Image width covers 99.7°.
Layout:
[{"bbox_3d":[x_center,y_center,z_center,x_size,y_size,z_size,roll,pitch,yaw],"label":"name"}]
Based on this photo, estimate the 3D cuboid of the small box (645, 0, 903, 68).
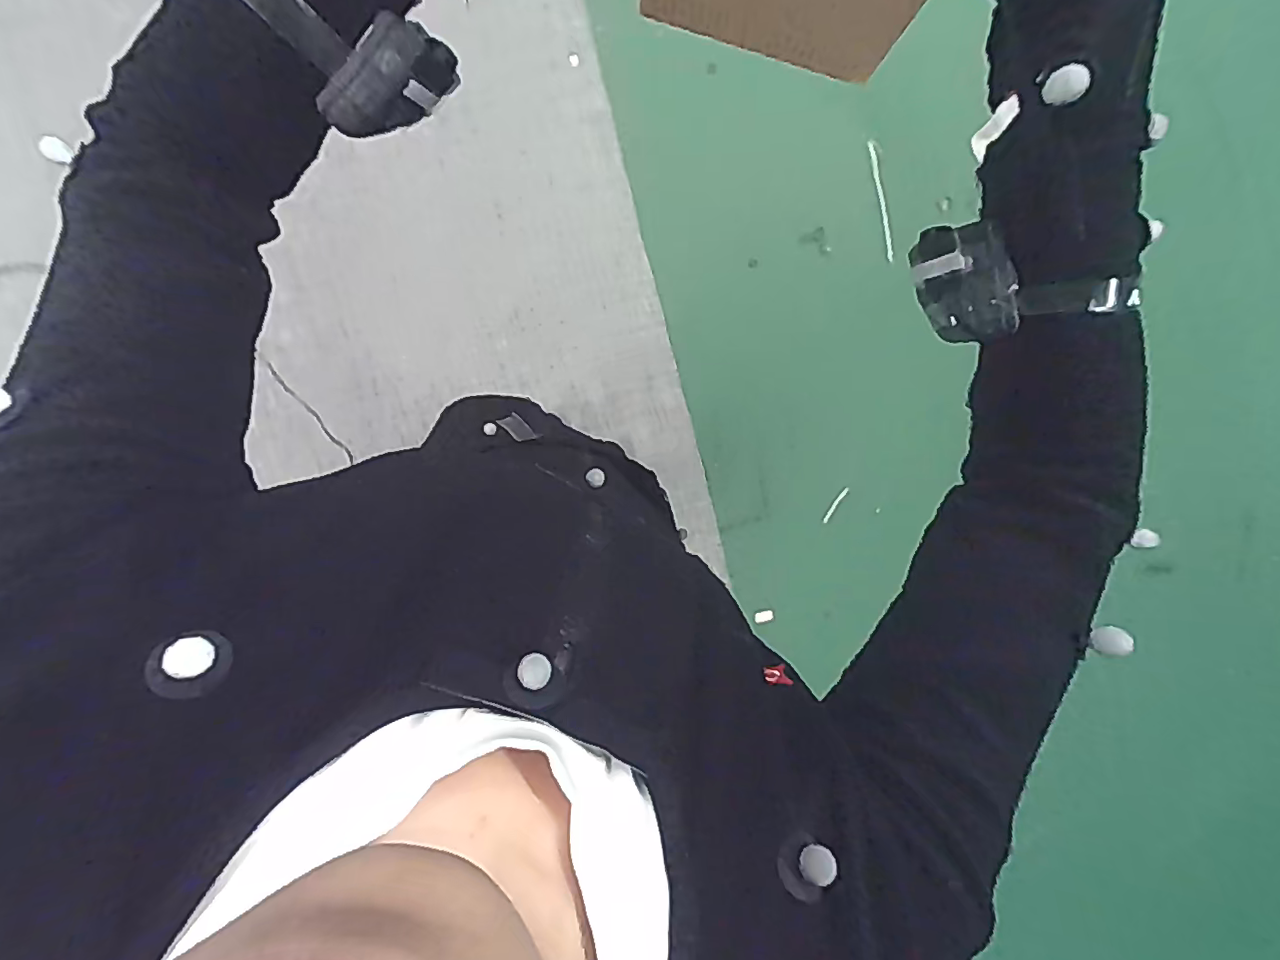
[{"bbox_3d":[0.100,-0.383,0.306,0.179,0.176,0.168,15,98,-3],"label":"small box"}]
